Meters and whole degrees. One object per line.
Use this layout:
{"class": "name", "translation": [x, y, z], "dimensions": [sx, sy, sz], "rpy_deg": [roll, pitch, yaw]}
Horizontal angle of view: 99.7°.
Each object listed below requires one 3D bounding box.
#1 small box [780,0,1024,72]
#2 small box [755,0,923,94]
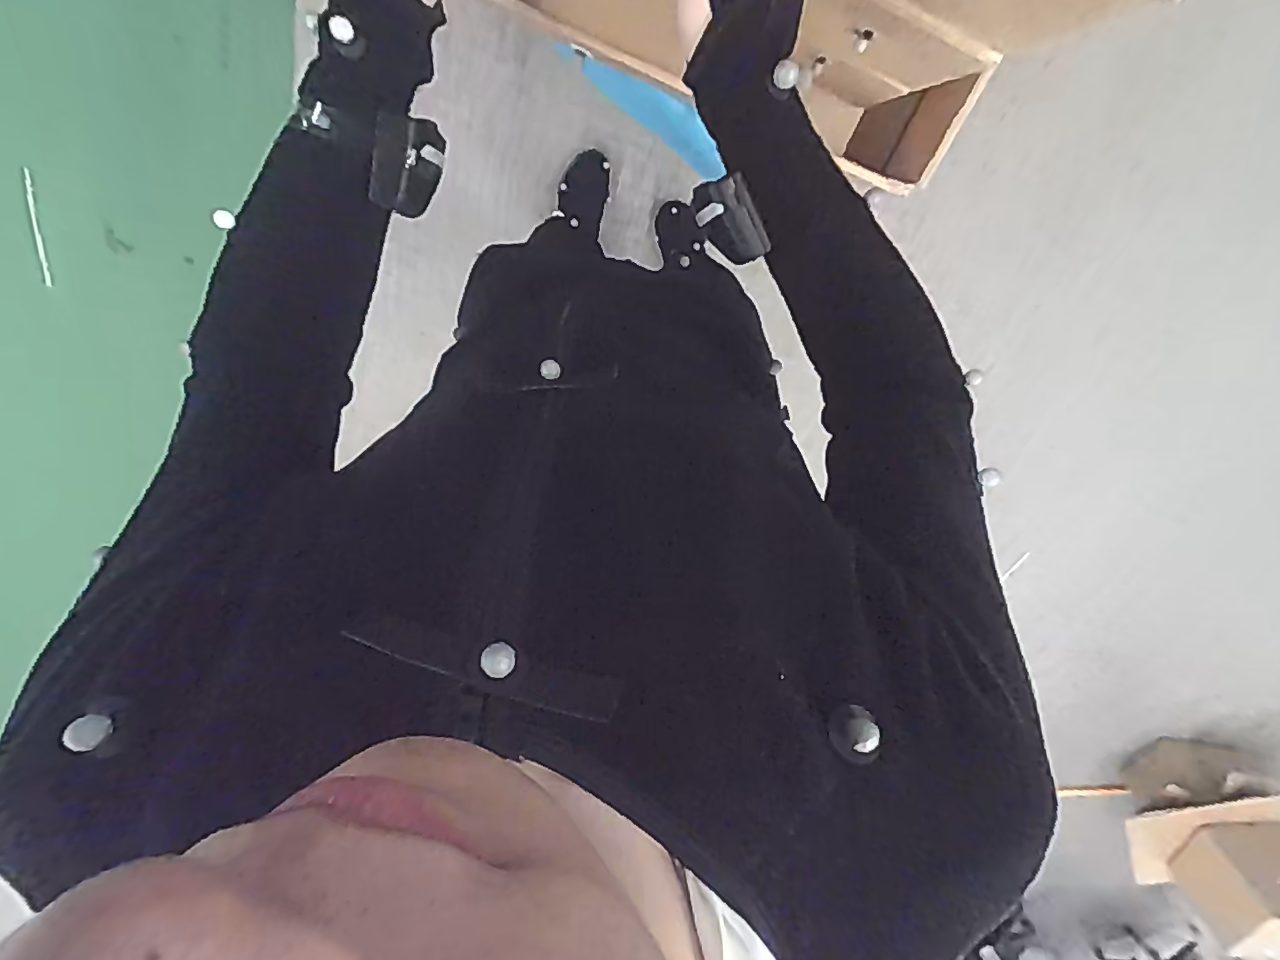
{"class": "small box", "translation": [0.237, -0.462, 0.436], "dimensions": [0.179, 0.176, 0.168], "rpy_deg": [20, 119, -8]}
{"class": "small box", "translation": [0.241, -0.544, 0.578], "dimensions": [0.179, 0.176, 0.168], "rpy_deg": [21, 119, -9]}
